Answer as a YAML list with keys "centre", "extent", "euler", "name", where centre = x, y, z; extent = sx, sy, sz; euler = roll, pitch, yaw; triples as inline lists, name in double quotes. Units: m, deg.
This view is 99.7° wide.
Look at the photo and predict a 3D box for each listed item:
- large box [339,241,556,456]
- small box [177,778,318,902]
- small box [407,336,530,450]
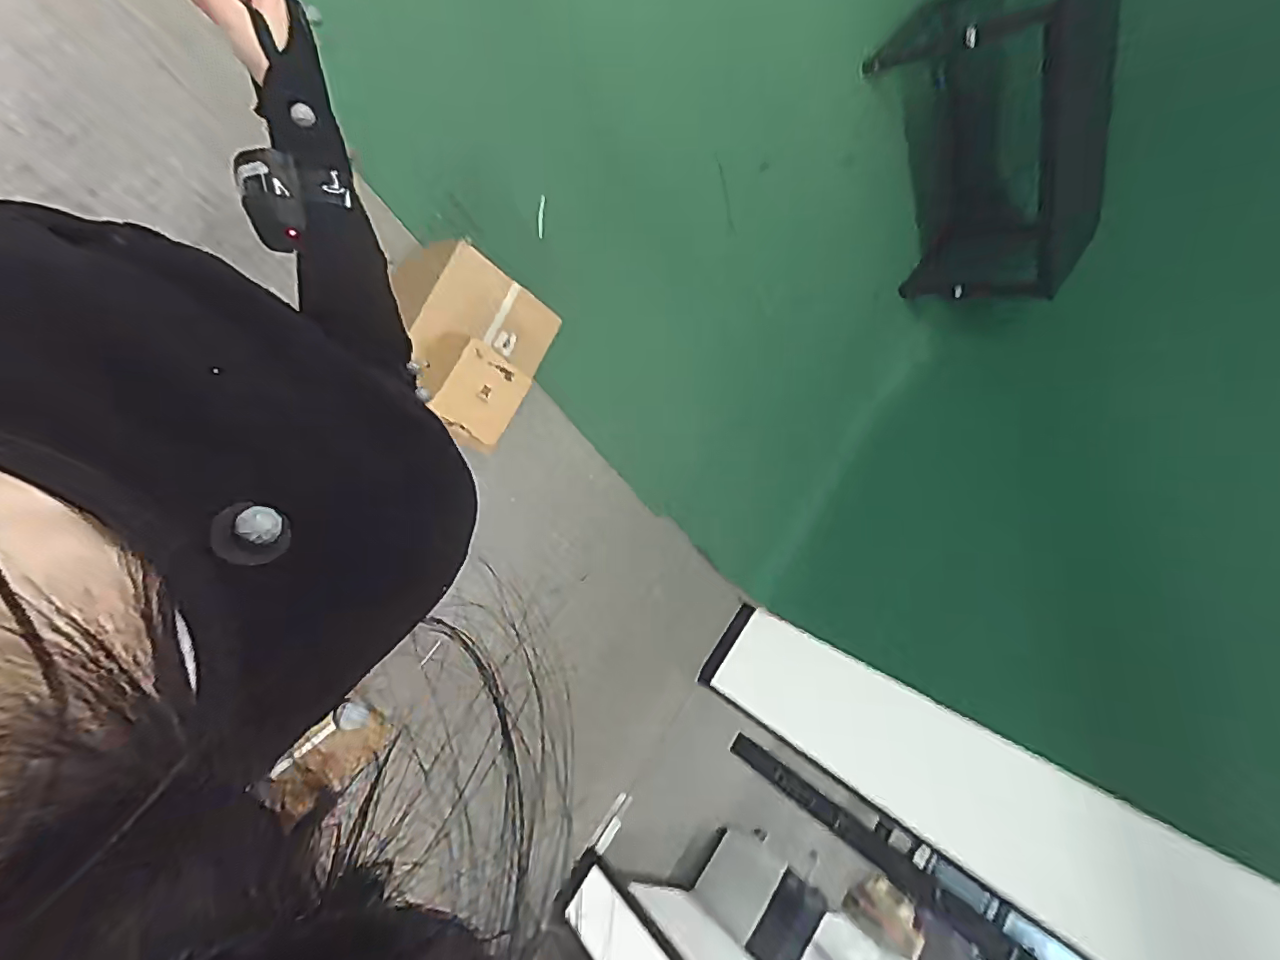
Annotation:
- centre: [-0.490, -0.324, 1.372]
  extent: [0.320, 0.320, 0.408]
  euler: [32, 82, -45]
  name: "large box"
- centre: [-0.819, 0.770, 1.131]
  extent: [0.168, 0.176, 0.179]
  euler: [-37, 128, -27]
  name: "small box"
- centre: [-0.380, -0.193, 1.176]
  extent: [0.168, 0.176, 0.179]
  euler: [38, 79, -43]
  name: "small box"
